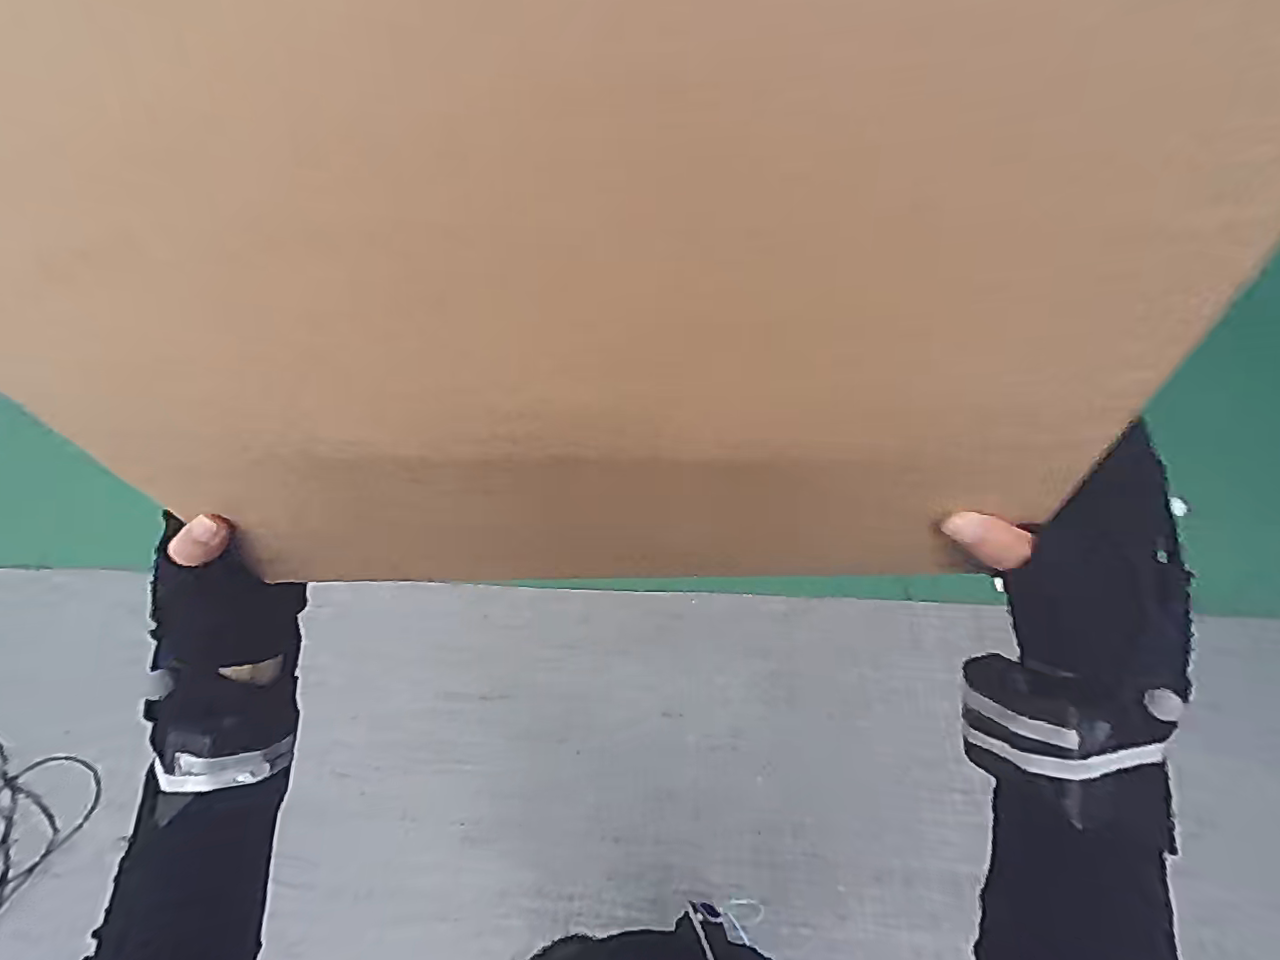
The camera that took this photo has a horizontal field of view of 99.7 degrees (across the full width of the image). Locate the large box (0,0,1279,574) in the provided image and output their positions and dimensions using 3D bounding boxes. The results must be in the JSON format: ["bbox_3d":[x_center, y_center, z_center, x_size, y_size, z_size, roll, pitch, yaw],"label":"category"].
[{"bbox_3d":[-0.011,-0.162,0.273,0.408,0.320,0.320,-2,52,5],"label":"large box"}]
